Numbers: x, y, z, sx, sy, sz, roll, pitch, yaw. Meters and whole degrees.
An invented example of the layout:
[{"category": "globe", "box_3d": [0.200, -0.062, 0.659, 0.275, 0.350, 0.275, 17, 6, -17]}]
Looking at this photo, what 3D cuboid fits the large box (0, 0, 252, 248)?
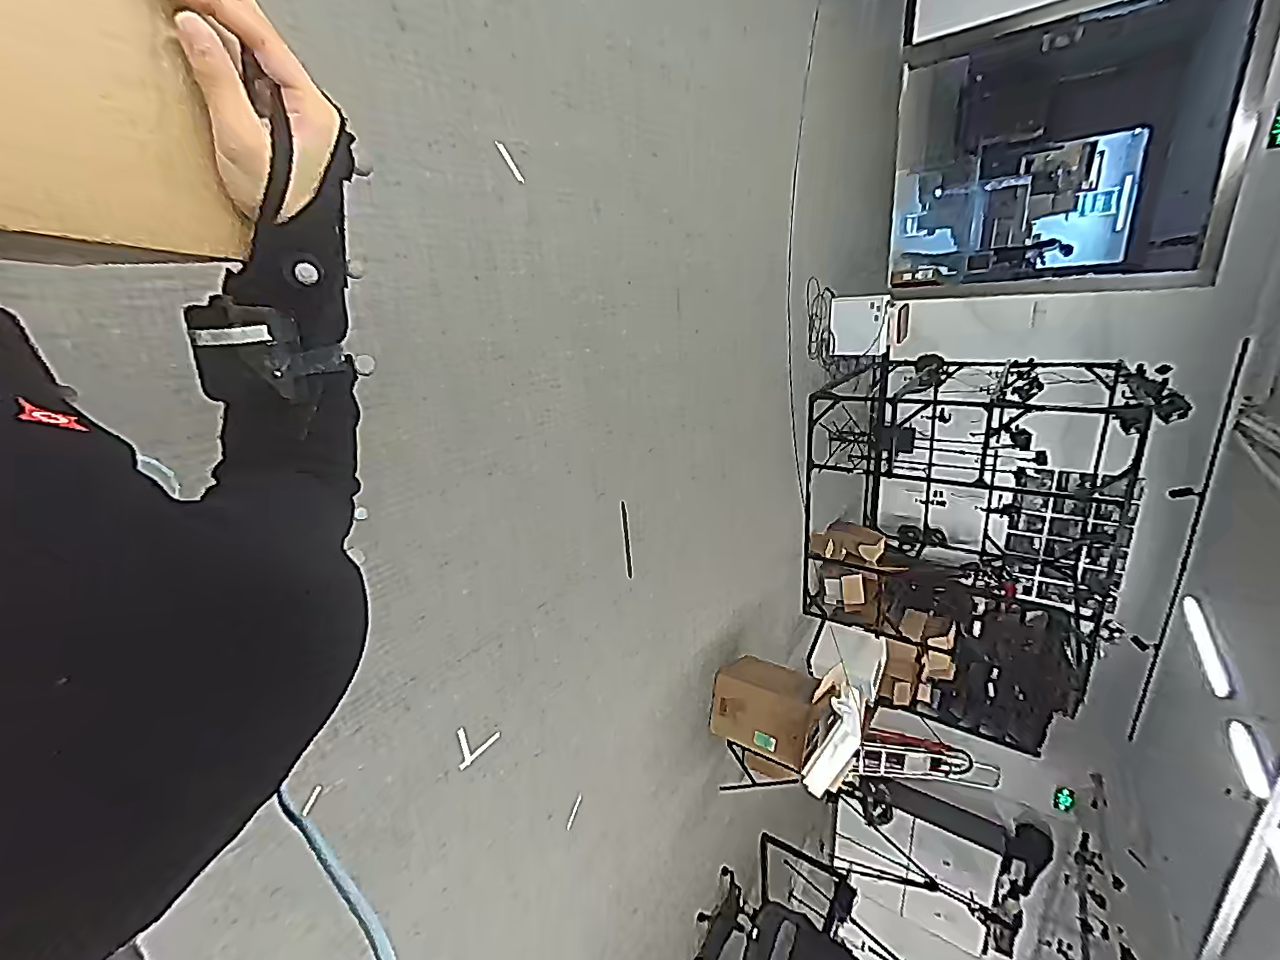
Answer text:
[{"category": "large box", "box_3d": [-0.454, -0.277, 0.192, 0.408, 0.320, 0.320, -22, 120, -58]}]
